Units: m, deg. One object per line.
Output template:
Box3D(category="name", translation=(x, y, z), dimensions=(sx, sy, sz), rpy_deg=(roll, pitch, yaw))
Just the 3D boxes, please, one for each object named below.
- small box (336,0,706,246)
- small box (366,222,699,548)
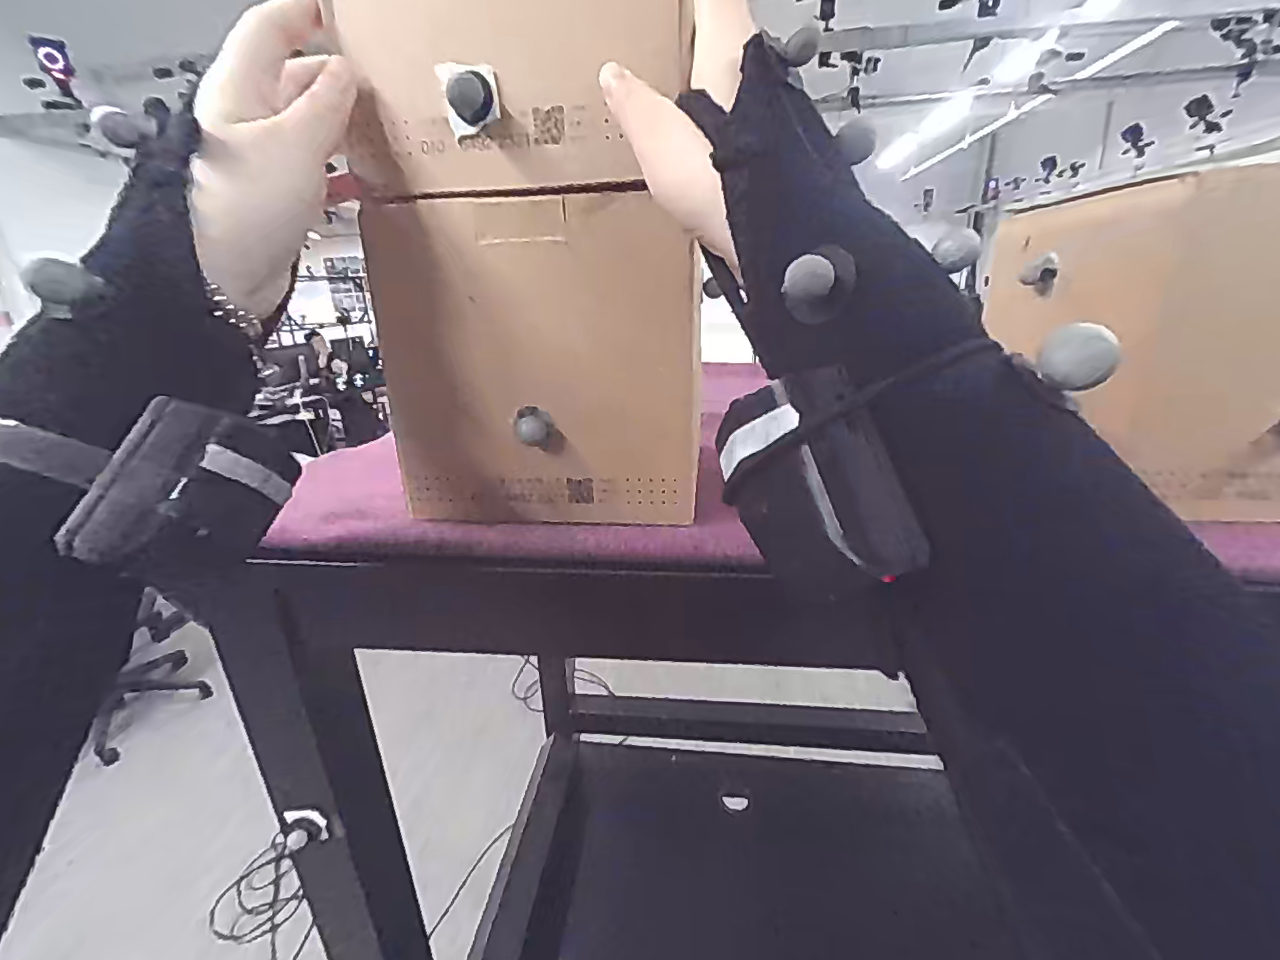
Box3D(category="small box", translation=(-0.050, -0.221, 0.310), dimensions=(0.168, 0.176, 0.179), rpy_deg=(0, 20, 10))
Box3D(category="small box", translation=(-0.046, -0.068, 0.363), dimensions=(0.168, 0.176, 0.179), rpy_deg=(0, 19, 8))
